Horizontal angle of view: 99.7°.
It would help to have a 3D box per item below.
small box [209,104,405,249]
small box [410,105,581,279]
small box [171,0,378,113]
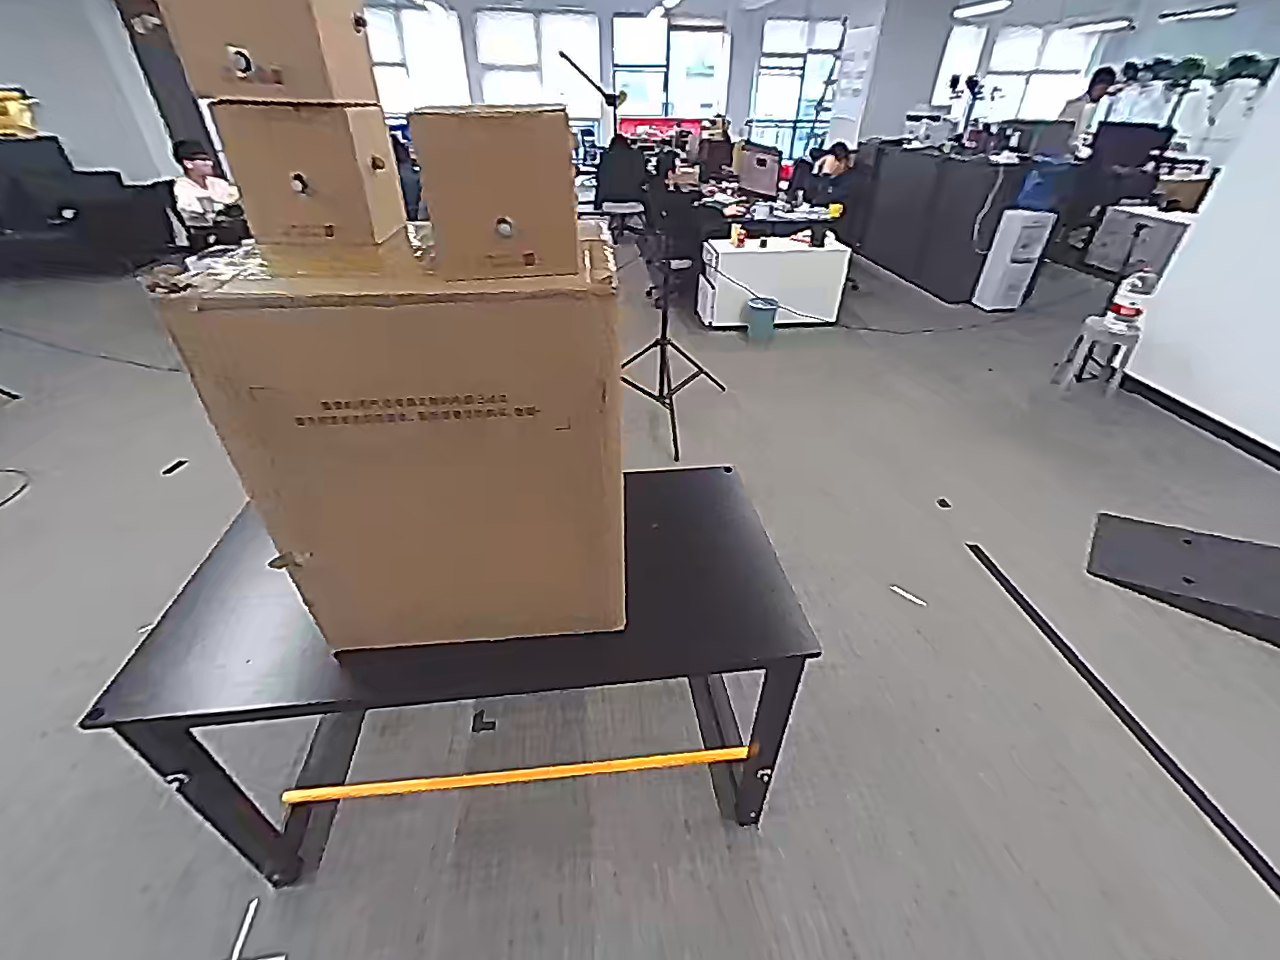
[{"bbox_3d":[-0.456,-0.439,0.779,0.168,0.176,0.179,-2,36,-6],"label":"small box"},{"bbox_3d":[-0.164,-0.357,0.667,0.168,0.176,0.179,-6,37,-6],"label":"small box"},{"bbox_3d":[-0.448,-0.564,0.673,0.168,0.176,0.179,-2,35,-4],"label":"small box"}]
